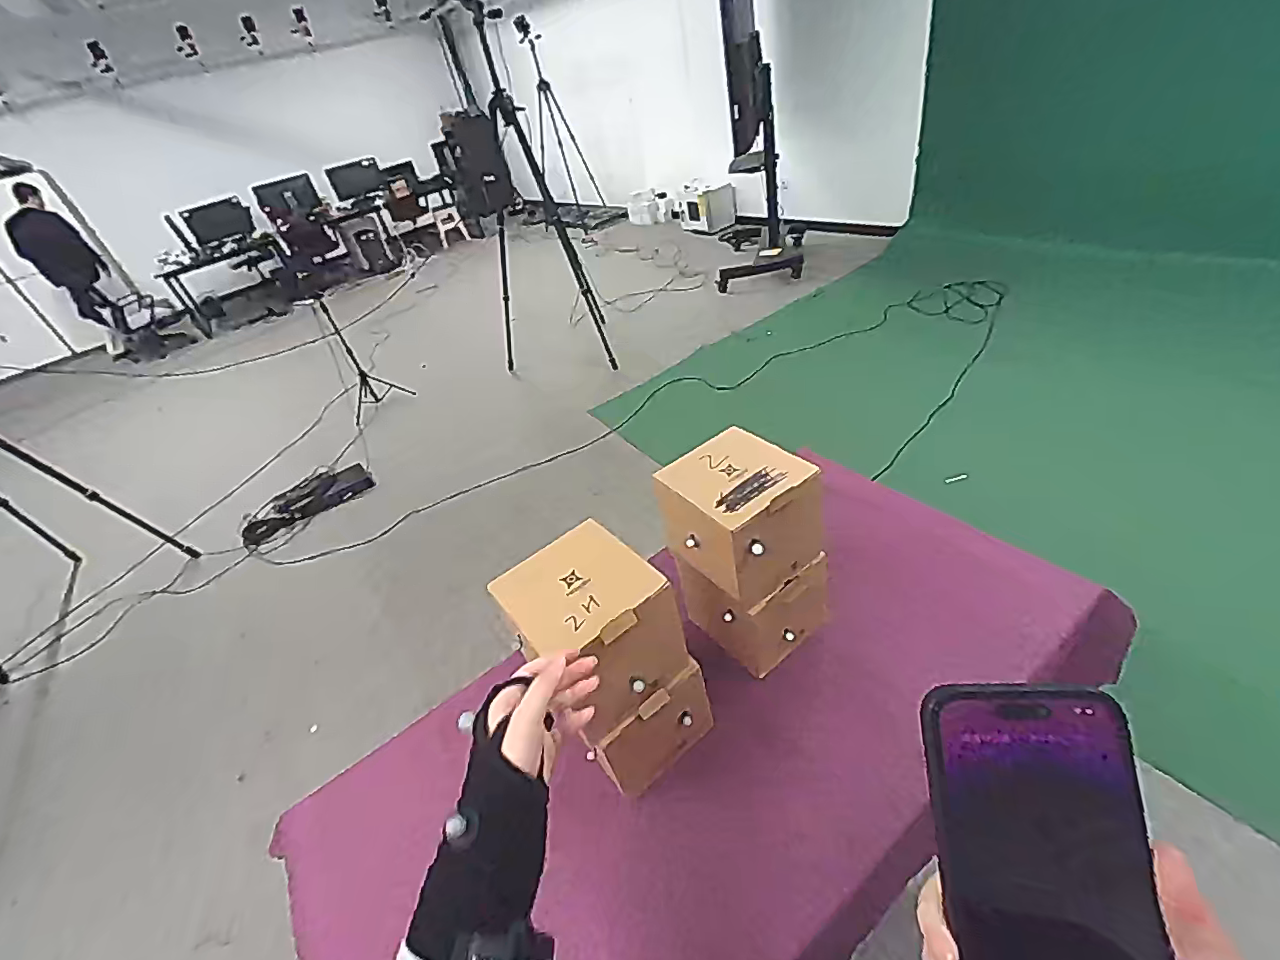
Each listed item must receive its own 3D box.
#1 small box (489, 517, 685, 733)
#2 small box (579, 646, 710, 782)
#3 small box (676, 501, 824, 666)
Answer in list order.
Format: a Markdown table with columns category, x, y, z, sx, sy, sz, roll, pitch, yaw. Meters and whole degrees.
| category | x | y | z | sx | sy | sz | roll | pitch | yaw |
| --- | --- | --- | --- | --- | --- | --- | --- | --- | --- |
| small box | -0.065 | 0.185 | 0.704 | 0.168 | 0.176 | 0.179 | -34 | 41 | -23 |
| small box | -0.016 | 0.310 | 0.801 | 0.168 | 0.176 | 0.179 | -33 | 40 | -22 |
| small box | 0.184 | 0.172 | 0.905 | 0.168 | 0.176 | 0.179 | -33 | 42 | -22 |
